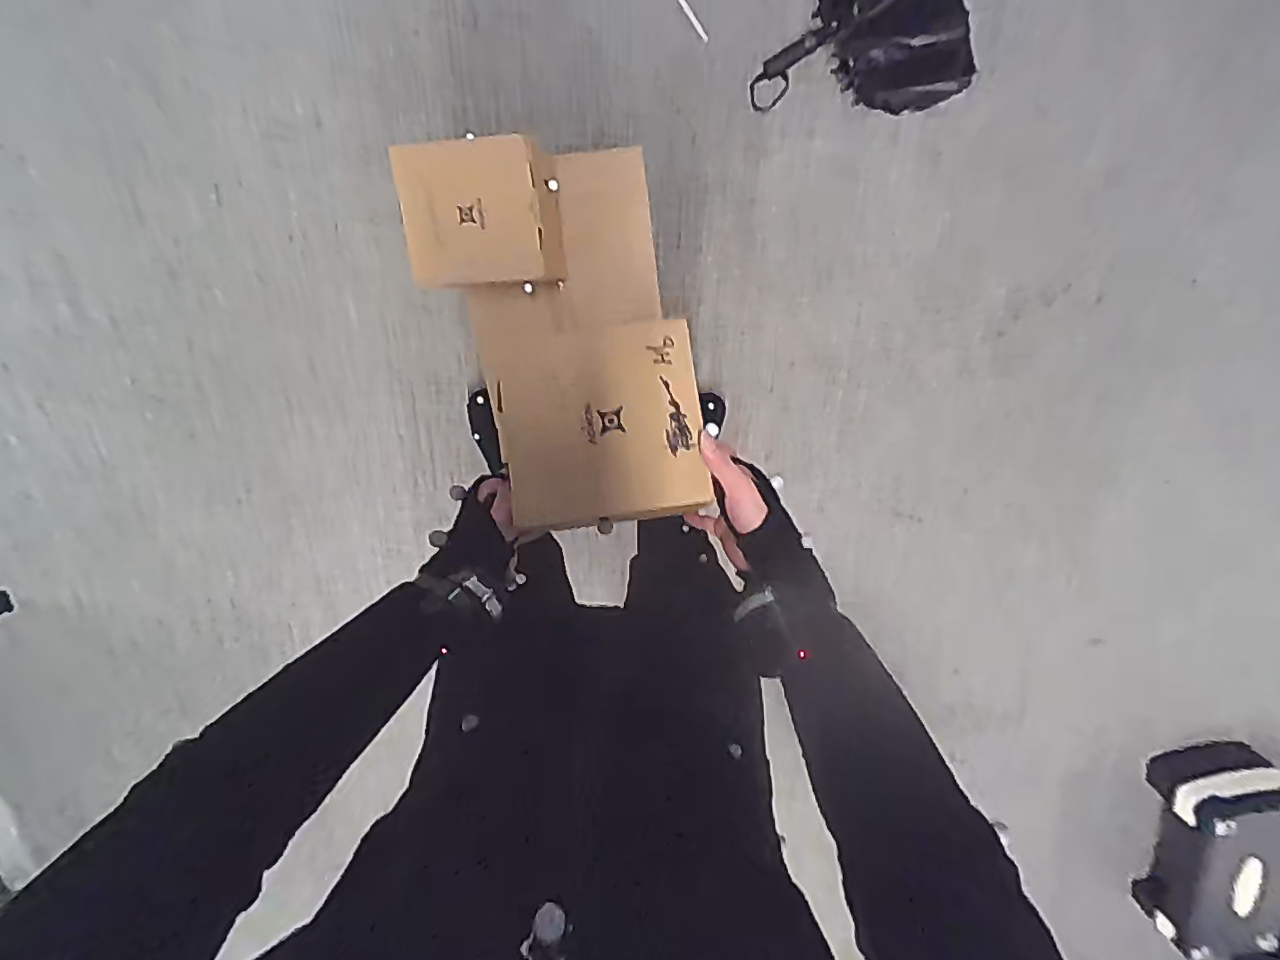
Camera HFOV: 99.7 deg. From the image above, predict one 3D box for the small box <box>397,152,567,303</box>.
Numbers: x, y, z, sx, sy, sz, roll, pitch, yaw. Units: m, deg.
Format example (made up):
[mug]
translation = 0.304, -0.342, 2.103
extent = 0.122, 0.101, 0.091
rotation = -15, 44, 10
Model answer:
[small box]
translation = -0.205, -0.345, 0.765
extent = 0.179, 0.176, 0.168
rotation = -4, 108, 6
